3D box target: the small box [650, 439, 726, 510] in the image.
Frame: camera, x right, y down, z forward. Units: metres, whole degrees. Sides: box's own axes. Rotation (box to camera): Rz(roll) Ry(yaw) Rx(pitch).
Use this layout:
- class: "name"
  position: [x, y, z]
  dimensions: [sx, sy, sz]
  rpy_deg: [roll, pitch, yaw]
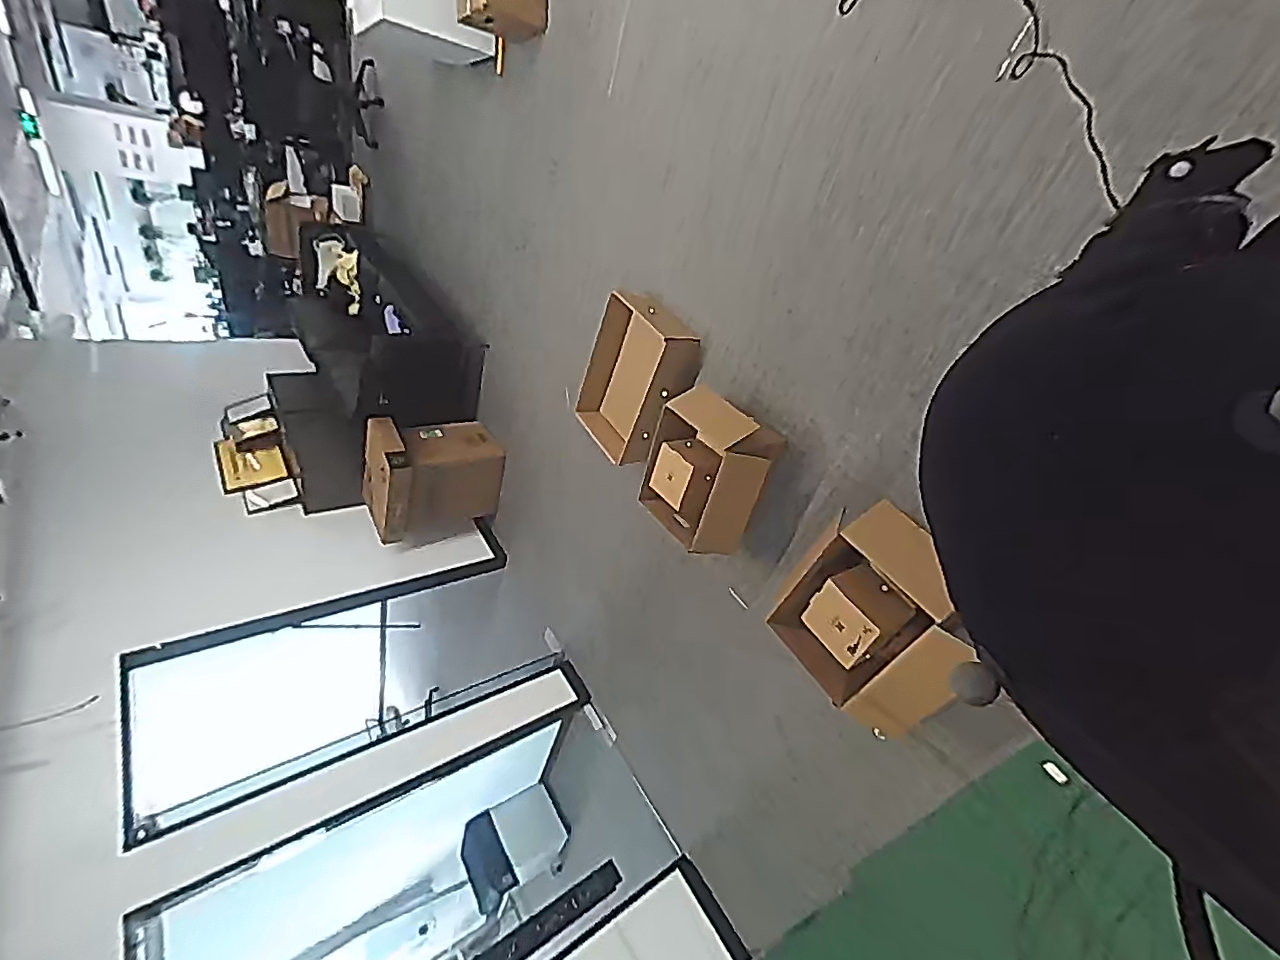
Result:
- class: "small box"
  position: [0.167, -0.026, 1.832]
  dimensions: [0.168, 0.176, 0.179]
  rpy_deg: [44, 129, 38]
